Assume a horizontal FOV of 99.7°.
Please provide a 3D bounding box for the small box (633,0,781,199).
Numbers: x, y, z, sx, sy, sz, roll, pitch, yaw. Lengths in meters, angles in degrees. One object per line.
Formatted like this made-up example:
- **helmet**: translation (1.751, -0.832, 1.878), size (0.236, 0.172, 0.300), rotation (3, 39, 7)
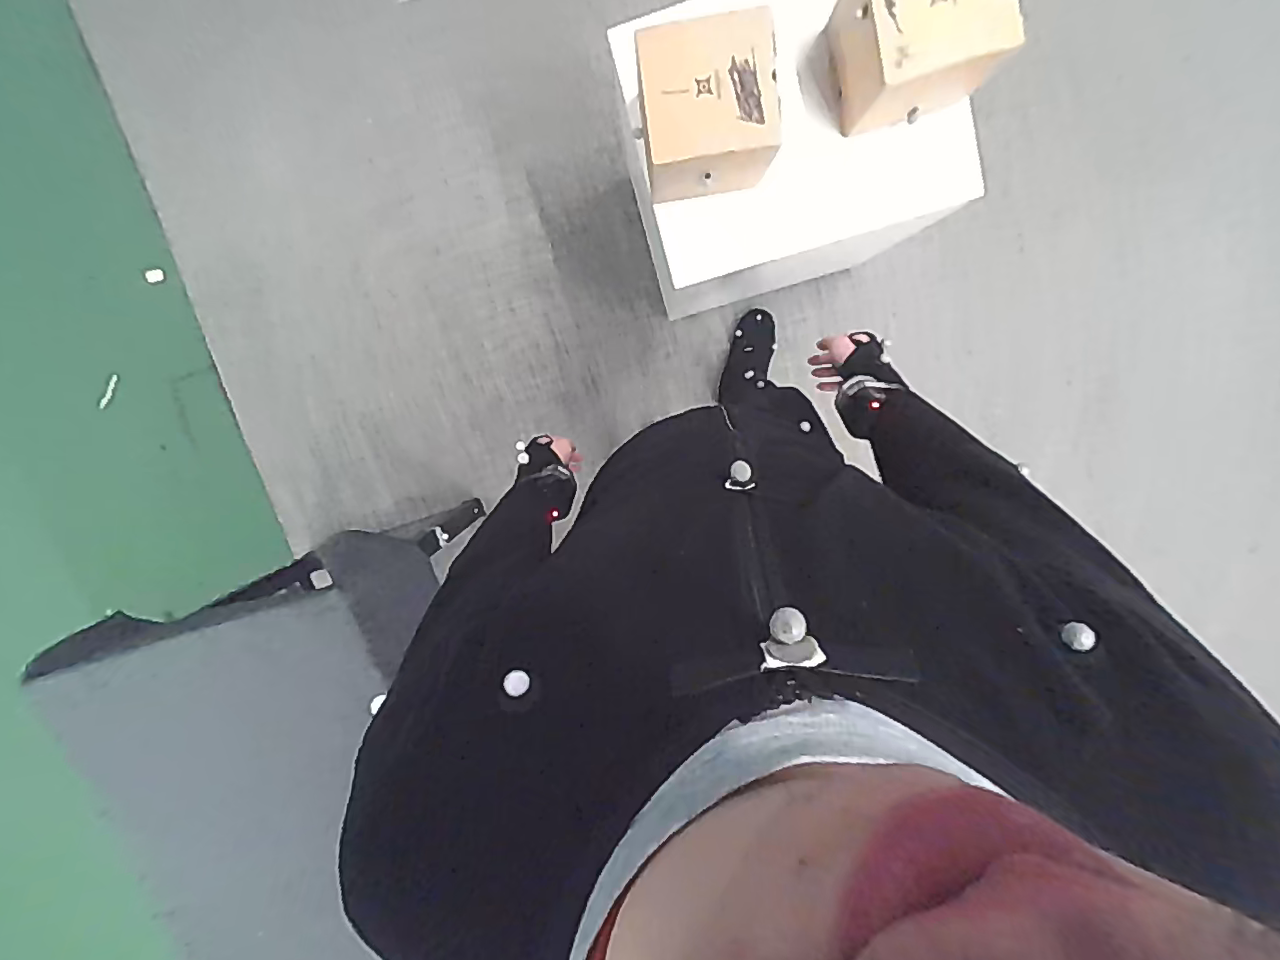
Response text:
- **small box**: translation (0.085, -0.514, 0.756), size (0.179, 0.176, 0.168), rotation (-7, 100, 1)

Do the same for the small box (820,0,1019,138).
- **small box**: translation (0.370, -0.606, 0.740), size (0.179, 0.176, 0.168), rotation (-14, 100, 3)
